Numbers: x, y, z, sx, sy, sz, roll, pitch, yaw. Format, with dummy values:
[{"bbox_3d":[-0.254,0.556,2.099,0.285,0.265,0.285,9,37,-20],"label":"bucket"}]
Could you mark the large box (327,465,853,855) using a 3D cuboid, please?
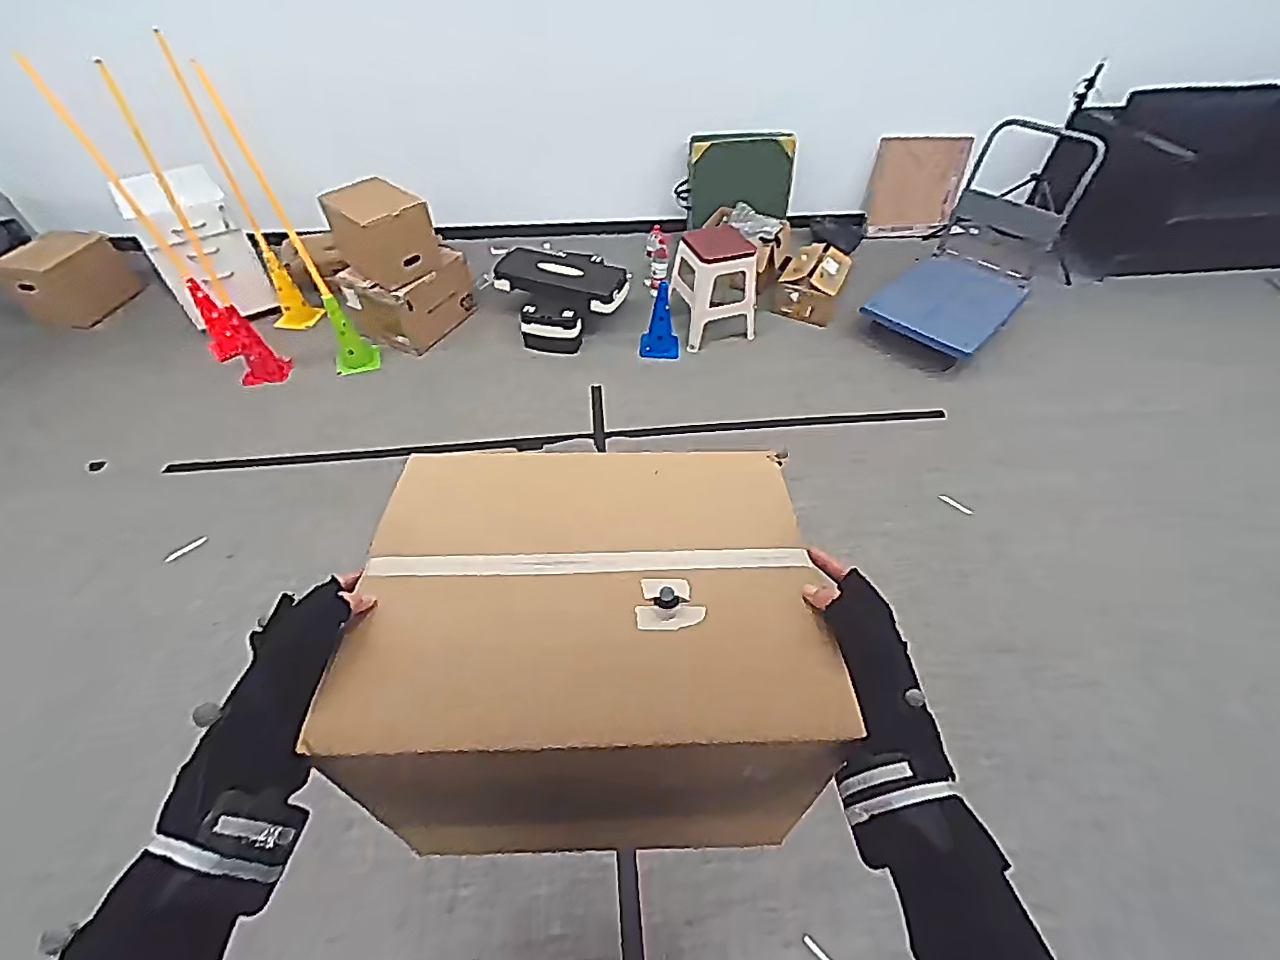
[{"bbox_3d":[-0.044,0.198,0.611,0.408,0.320,0.320,0,44,-2],"label":"large box"}]
